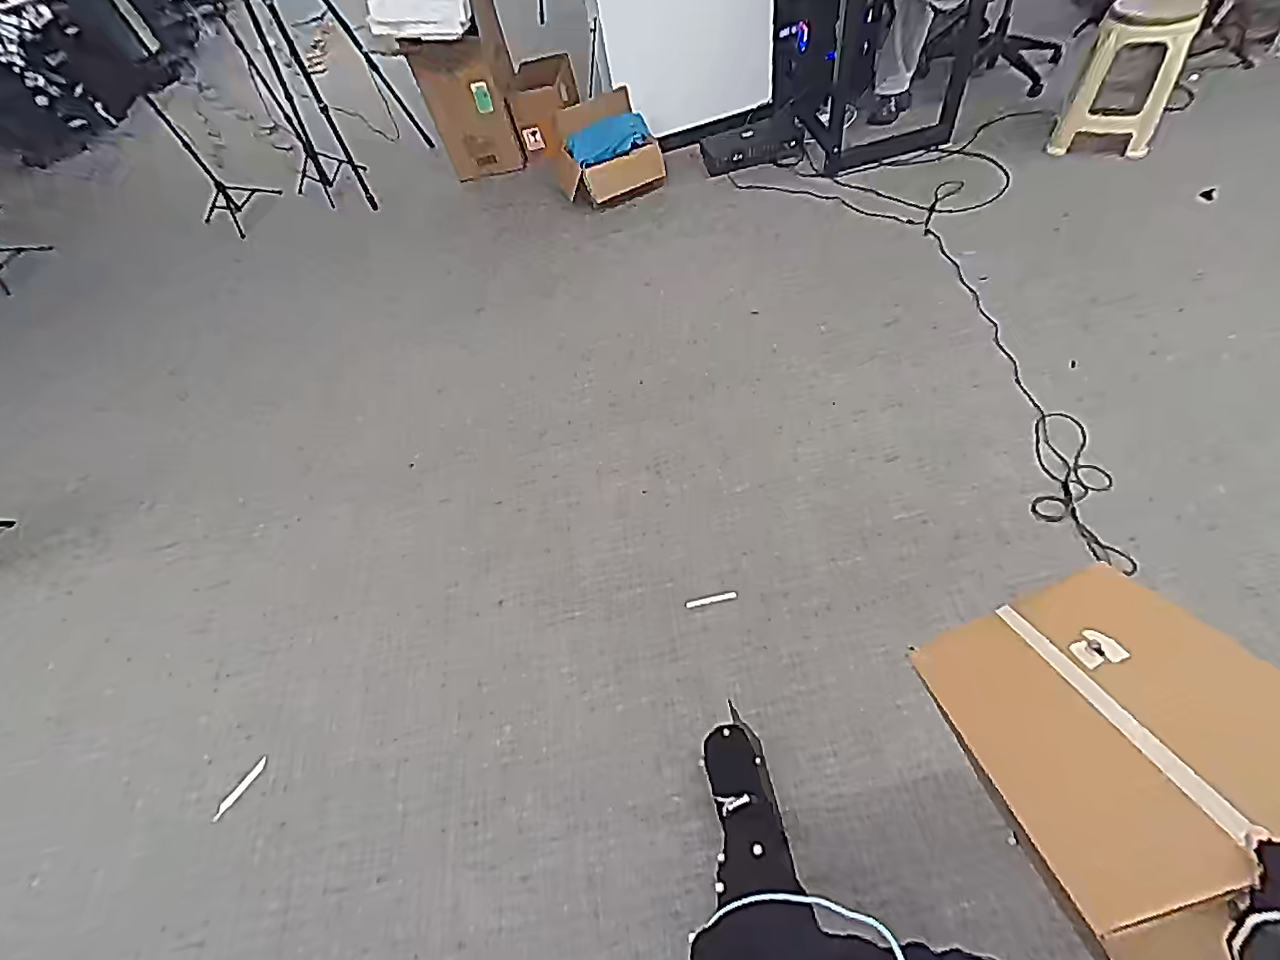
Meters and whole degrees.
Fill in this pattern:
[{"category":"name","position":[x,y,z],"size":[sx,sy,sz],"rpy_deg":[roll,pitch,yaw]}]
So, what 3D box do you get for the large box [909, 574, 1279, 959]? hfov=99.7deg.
[{"category":"large box","position":[0.637,0.397,0.694],"size":[0.320,0.320,0.408],"rpy_deg":[-29,15,11]}]
